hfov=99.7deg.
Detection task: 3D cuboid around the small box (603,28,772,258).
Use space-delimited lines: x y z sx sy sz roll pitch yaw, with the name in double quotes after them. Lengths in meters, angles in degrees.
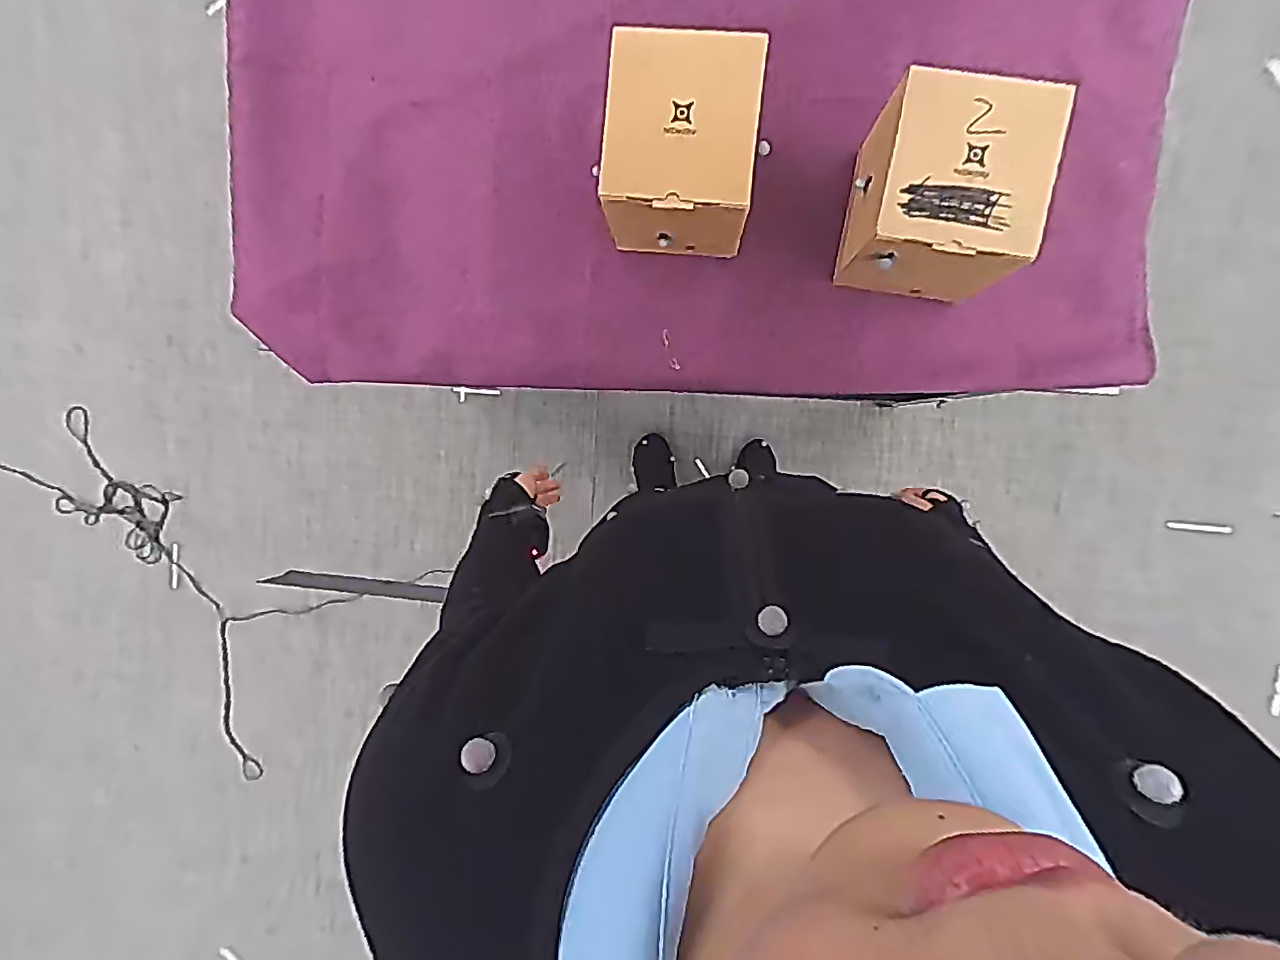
0.054 -0.389 0.653 0.168 0.176 0.179 6 96 4 "small box"
